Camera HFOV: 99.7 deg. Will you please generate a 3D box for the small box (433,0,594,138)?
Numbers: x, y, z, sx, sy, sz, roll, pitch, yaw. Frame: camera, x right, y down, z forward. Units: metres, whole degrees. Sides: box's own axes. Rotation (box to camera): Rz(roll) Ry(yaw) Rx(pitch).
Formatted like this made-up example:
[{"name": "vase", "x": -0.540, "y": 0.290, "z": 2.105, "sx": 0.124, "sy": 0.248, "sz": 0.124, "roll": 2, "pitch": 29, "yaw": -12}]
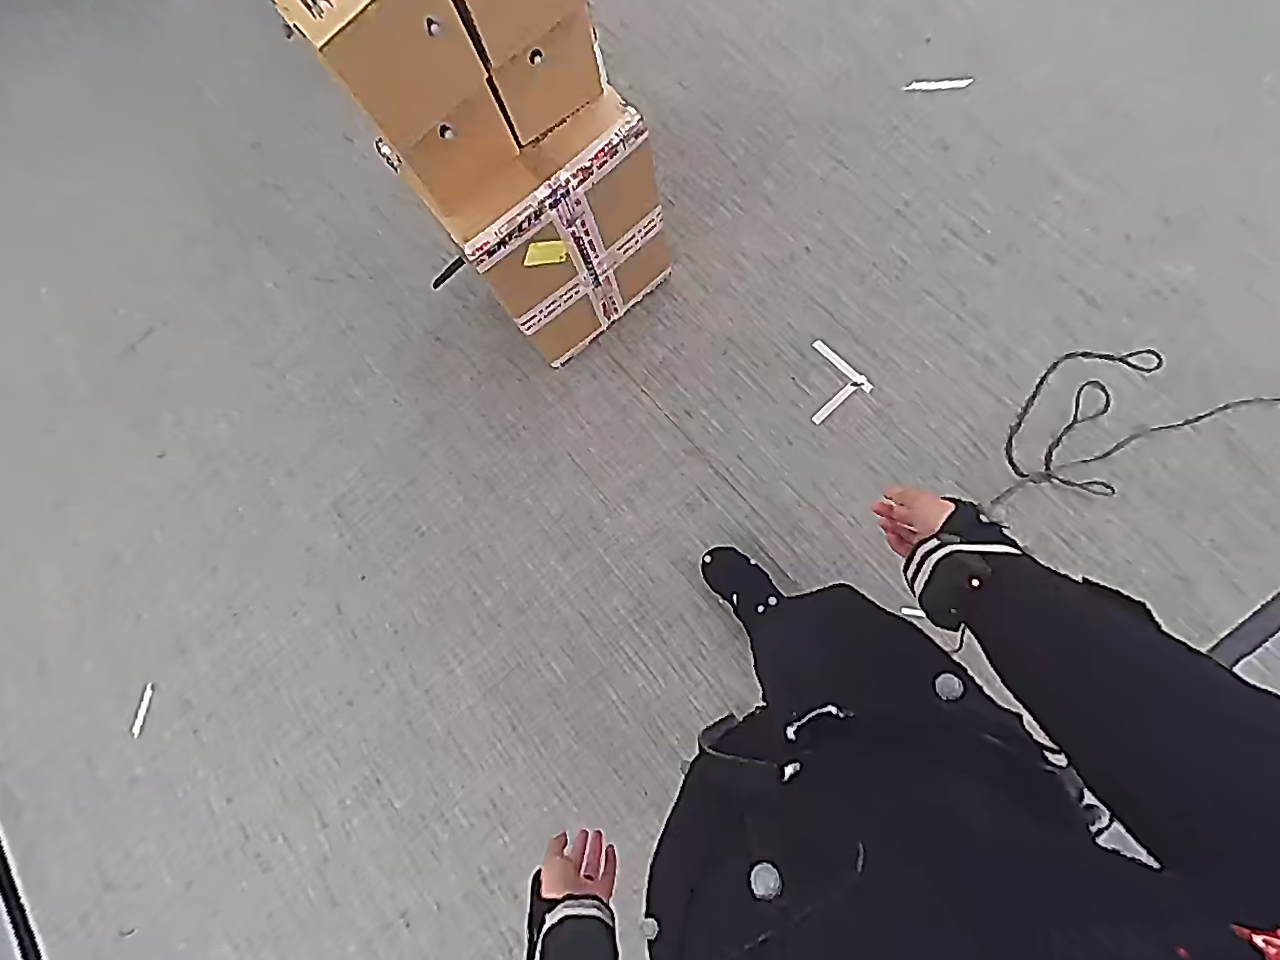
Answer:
[{"name": "small box", "x": -0.197, "y": -0.715, "z": 0.887, "sx": 0.179, "sy": 0.176, "sz": 0.168, "roll": -34, "pitch": 77, "yaw": 0}]
